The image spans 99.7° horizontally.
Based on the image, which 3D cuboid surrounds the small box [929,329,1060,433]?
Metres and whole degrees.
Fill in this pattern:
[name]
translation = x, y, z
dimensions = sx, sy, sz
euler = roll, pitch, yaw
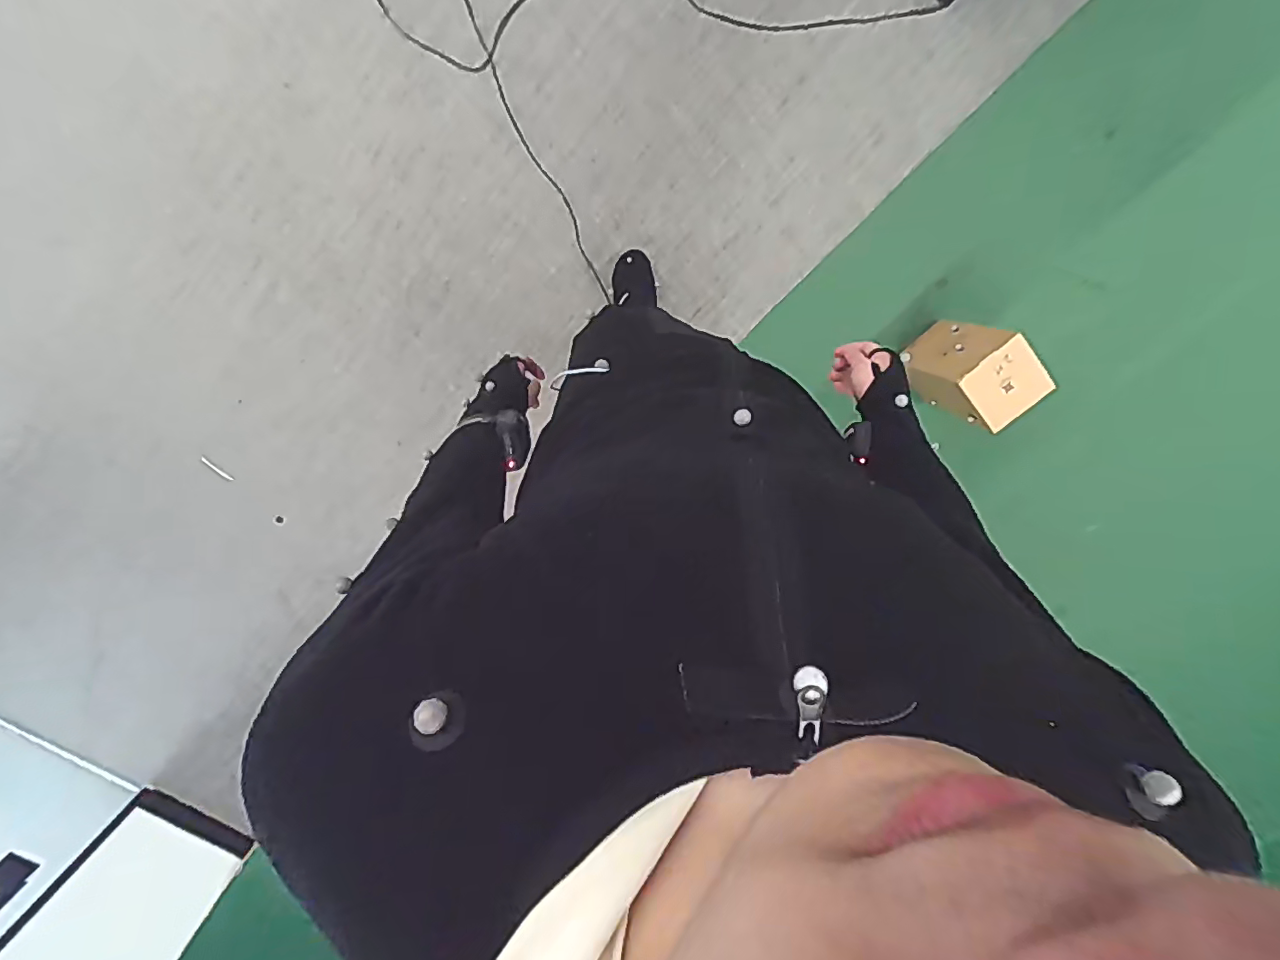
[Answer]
[small box]
translation = 0.850, -0.247, 1.312
dimensions = 0.168, 0.176, 0.179
euler = -41, 106, 13
